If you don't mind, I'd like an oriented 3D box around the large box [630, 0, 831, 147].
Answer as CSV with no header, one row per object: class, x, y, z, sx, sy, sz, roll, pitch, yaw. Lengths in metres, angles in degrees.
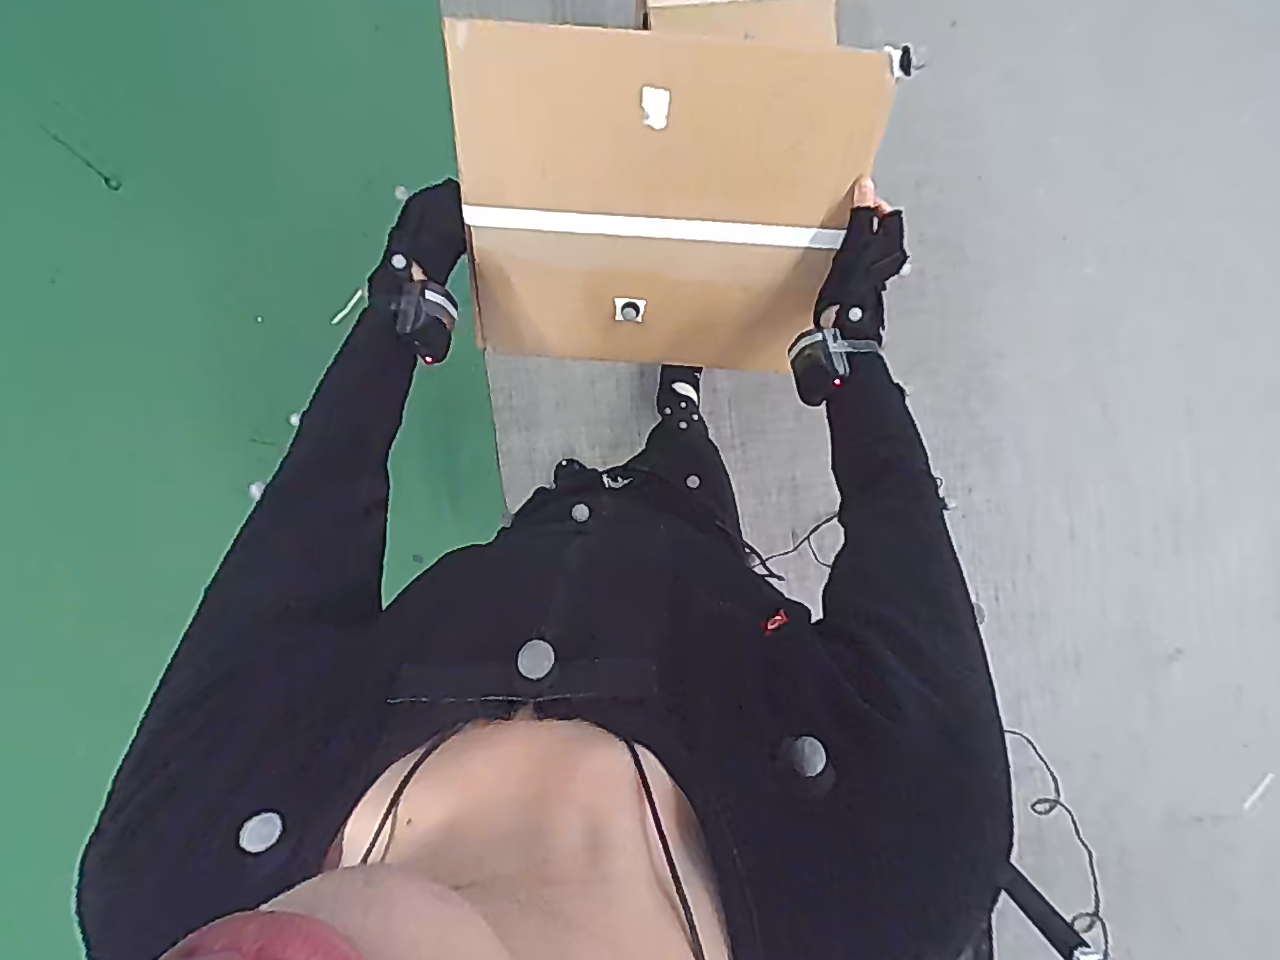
large box,0.194,-1.044,1.291,0.408,0.320,0.320,-6,95,-2
